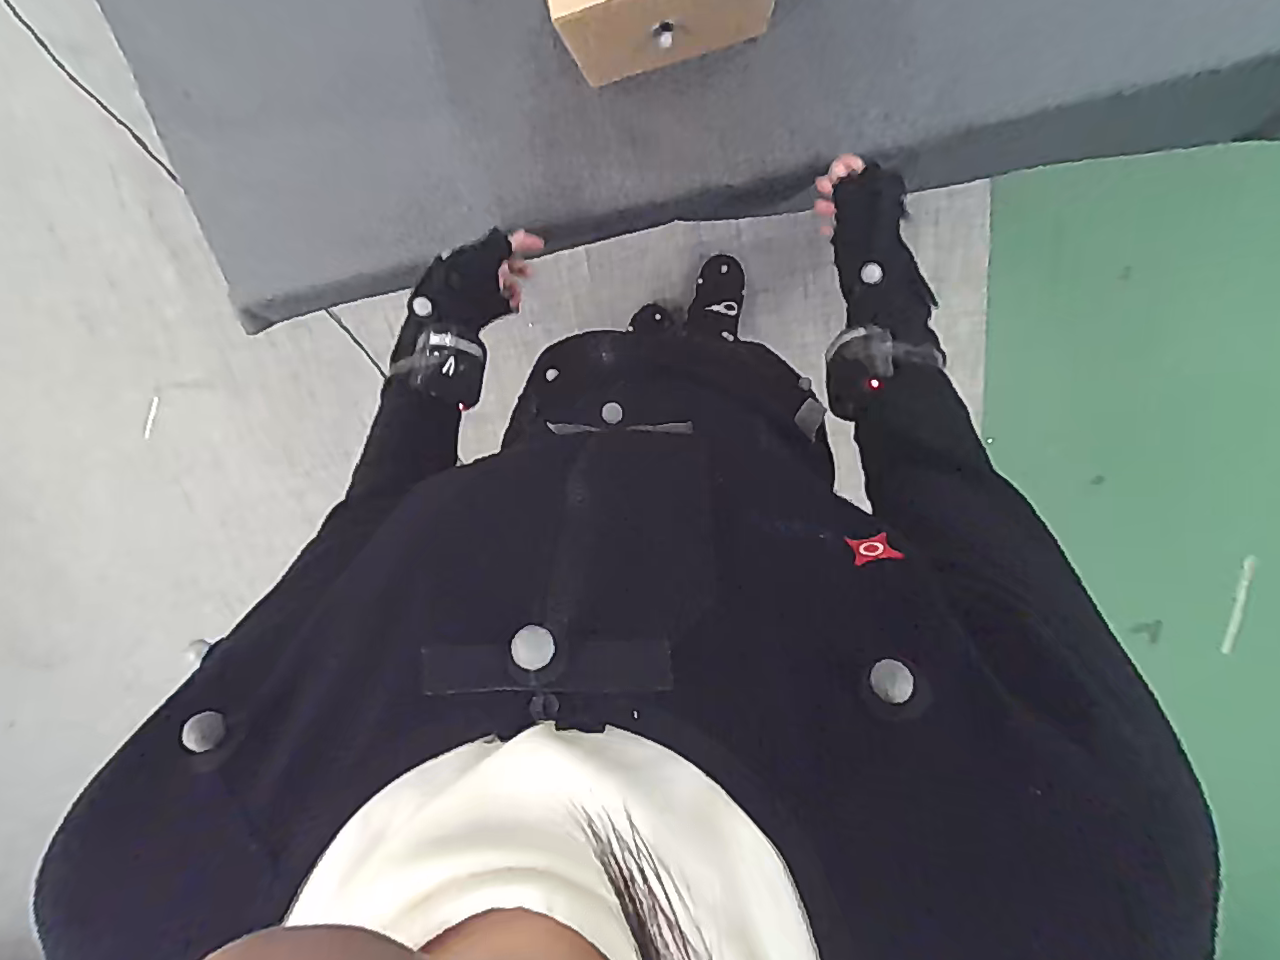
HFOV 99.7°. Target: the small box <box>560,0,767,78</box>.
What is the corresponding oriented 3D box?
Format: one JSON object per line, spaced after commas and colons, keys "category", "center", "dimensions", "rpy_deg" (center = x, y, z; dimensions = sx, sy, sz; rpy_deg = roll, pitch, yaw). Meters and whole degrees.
{"category": "small box", "center": [0.012, -0.452, 0.416], "dimensions": [0.179, 0.176, 0.168], "rpy_deg": [-14, 111, 10]}
